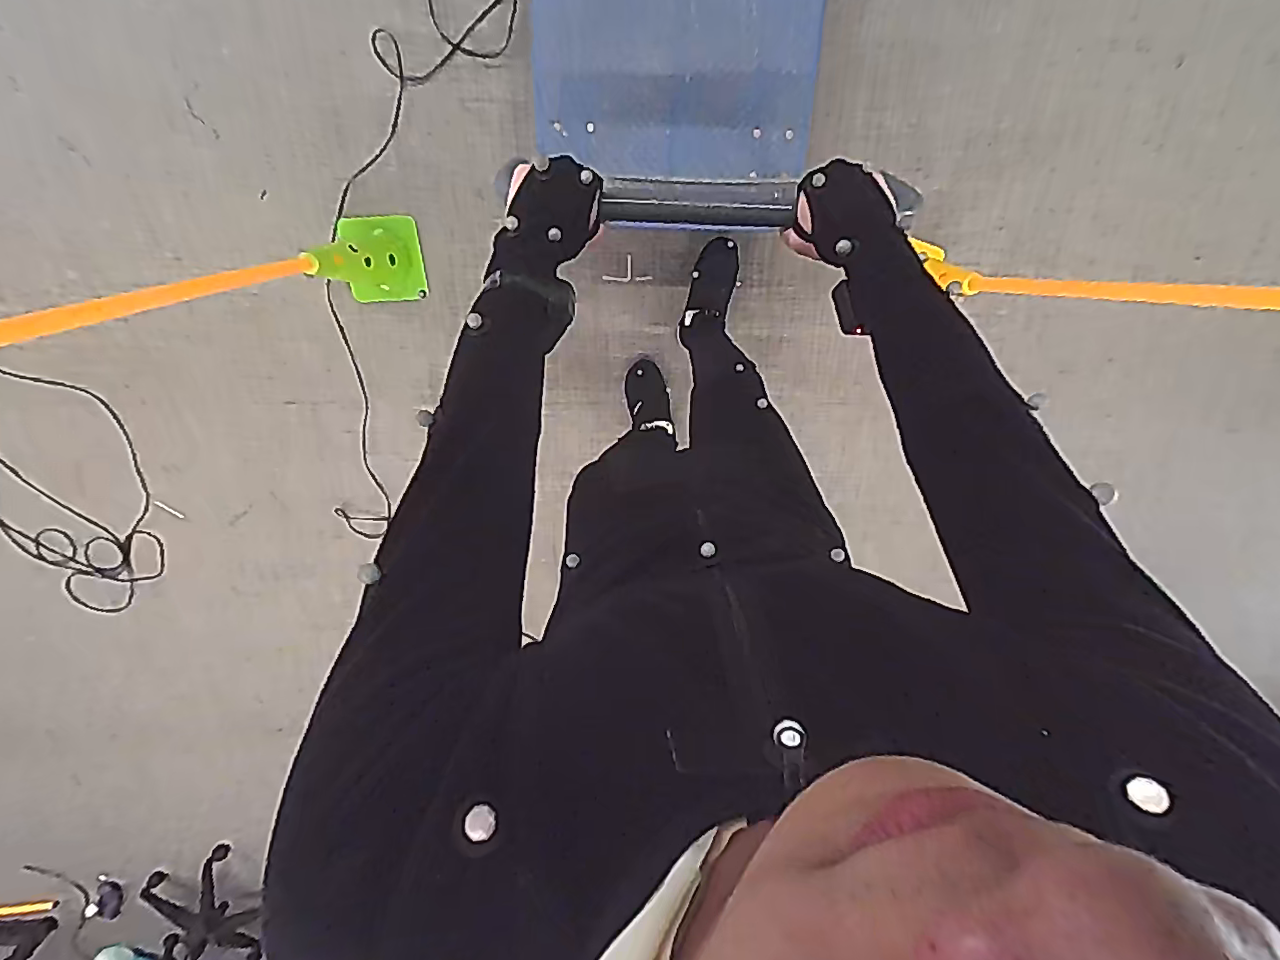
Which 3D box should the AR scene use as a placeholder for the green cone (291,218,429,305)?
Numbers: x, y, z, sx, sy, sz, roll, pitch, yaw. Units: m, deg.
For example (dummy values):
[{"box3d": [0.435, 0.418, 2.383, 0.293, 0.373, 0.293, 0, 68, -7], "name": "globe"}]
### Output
[{"box3d": [-0.659, -0.493, 1.230, 0.202, 0.368, 0.200, -3, 112, 3], "name": "green cone"}]
